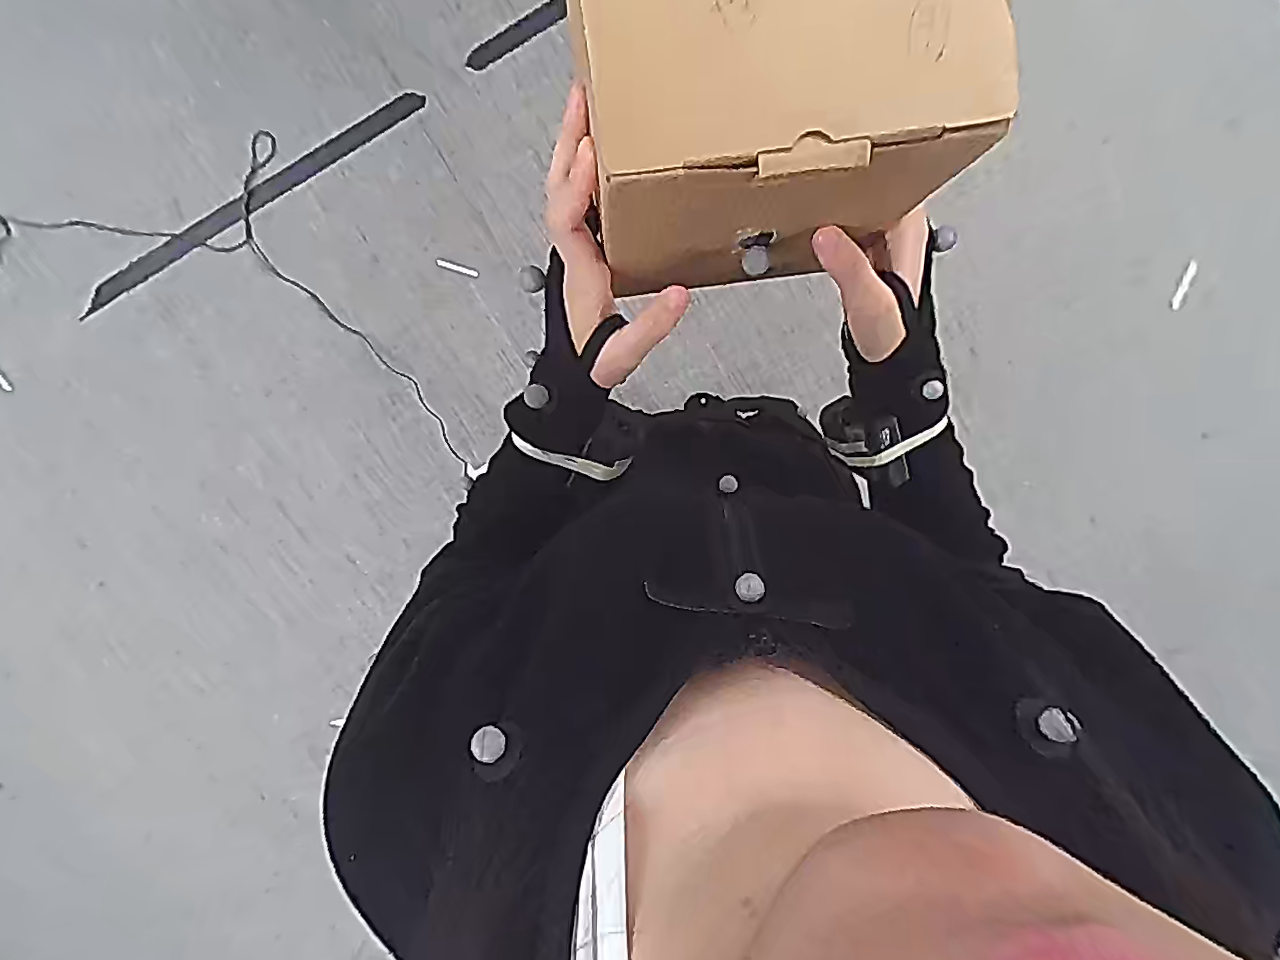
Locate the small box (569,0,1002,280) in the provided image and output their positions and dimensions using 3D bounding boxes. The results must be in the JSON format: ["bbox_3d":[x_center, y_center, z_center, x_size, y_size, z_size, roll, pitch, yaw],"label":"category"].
[{"bbox_3d":[0.051,-0.218,0.288,0.168,0.176,0.179,-8,94,-2],"label":"small box"}]

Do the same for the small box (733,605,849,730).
[{"bbox_3d":[0.324,0.401,1.175,0.179,0.176,0.168,-31,97,3],"label":"small box"}]
